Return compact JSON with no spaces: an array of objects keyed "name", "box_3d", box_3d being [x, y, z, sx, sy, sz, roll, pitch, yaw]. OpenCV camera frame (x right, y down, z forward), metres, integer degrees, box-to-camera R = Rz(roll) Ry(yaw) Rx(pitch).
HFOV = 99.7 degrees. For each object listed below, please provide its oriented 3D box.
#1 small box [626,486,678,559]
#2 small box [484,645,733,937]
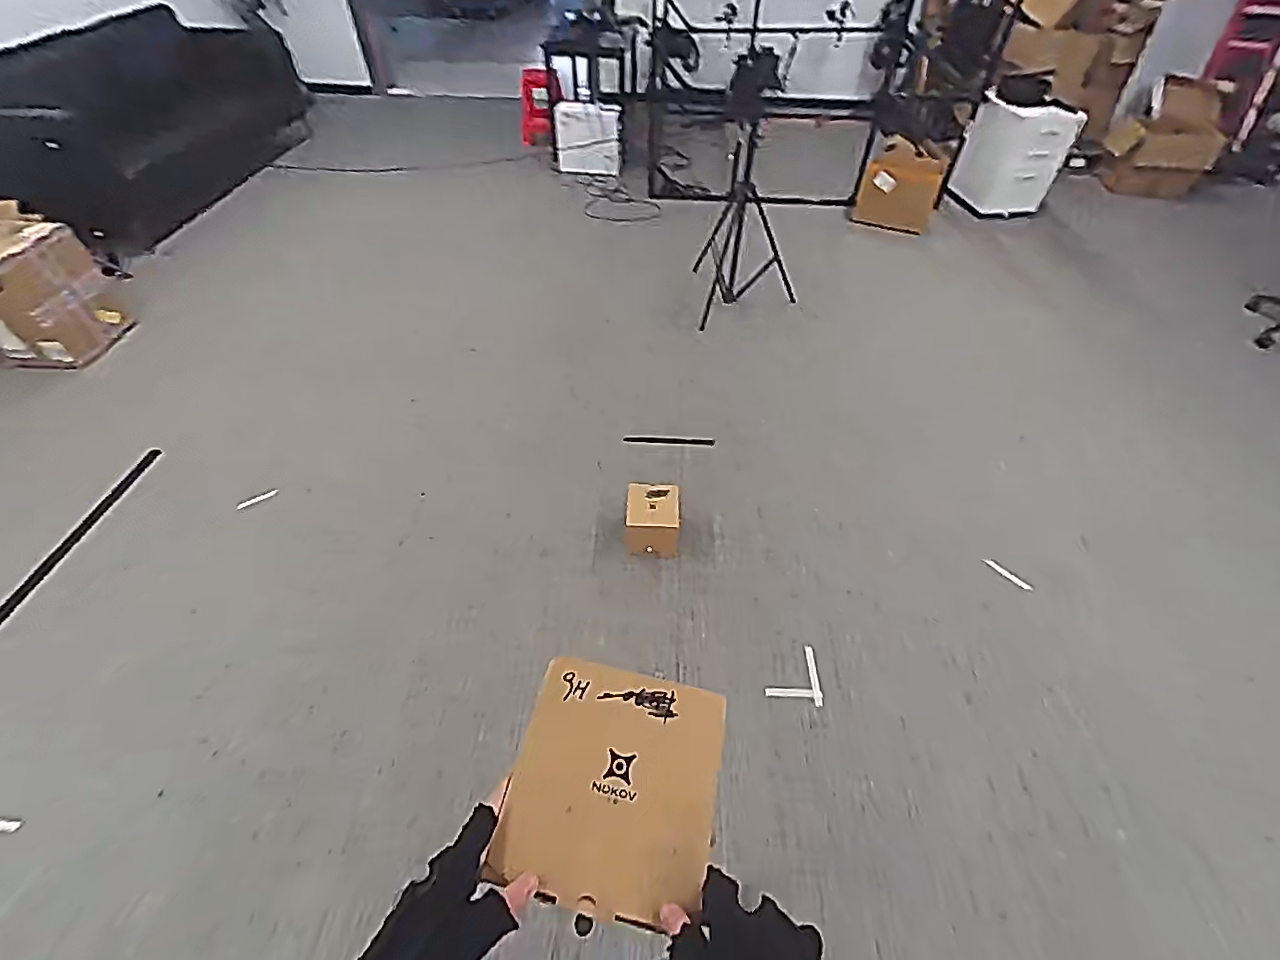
[{"name":"small box","box_3d":[0.039,0.142,1.803,0.168,0.176,0.179,2,49,1]},{"name":"small box","box_3d":[-0.019,0.282,0.497,0.168,0.176,0.179,12,53,6]}]
